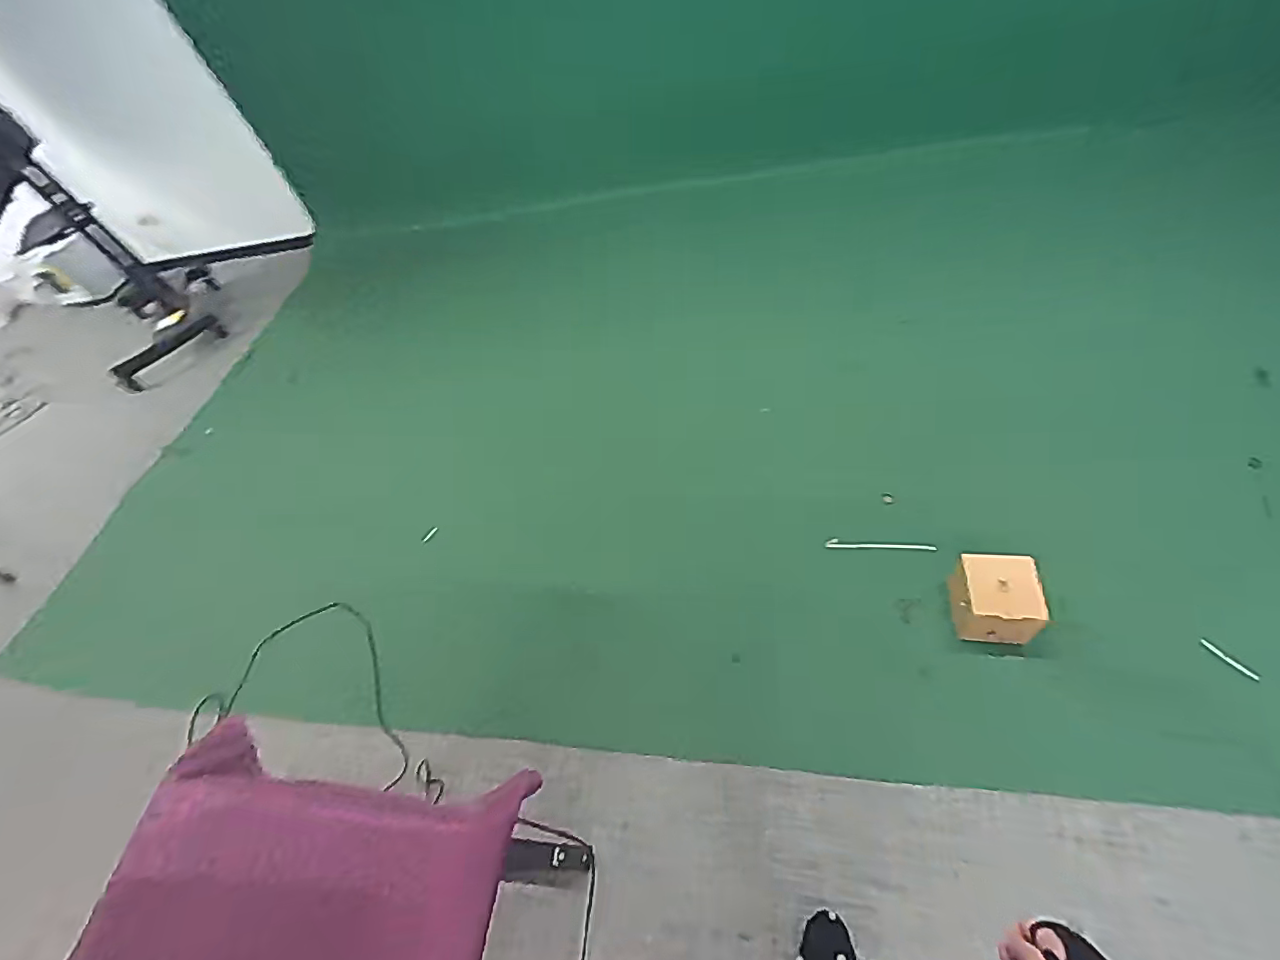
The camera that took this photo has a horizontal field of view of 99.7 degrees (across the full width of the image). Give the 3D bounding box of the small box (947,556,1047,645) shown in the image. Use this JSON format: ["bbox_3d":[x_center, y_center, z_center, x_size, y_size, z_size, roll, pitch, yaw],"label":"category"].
[{"bbox_3d":[0.944,0.323,1.447,0.168,0.176,0.179,0,55,14],"label":"small box"}]
